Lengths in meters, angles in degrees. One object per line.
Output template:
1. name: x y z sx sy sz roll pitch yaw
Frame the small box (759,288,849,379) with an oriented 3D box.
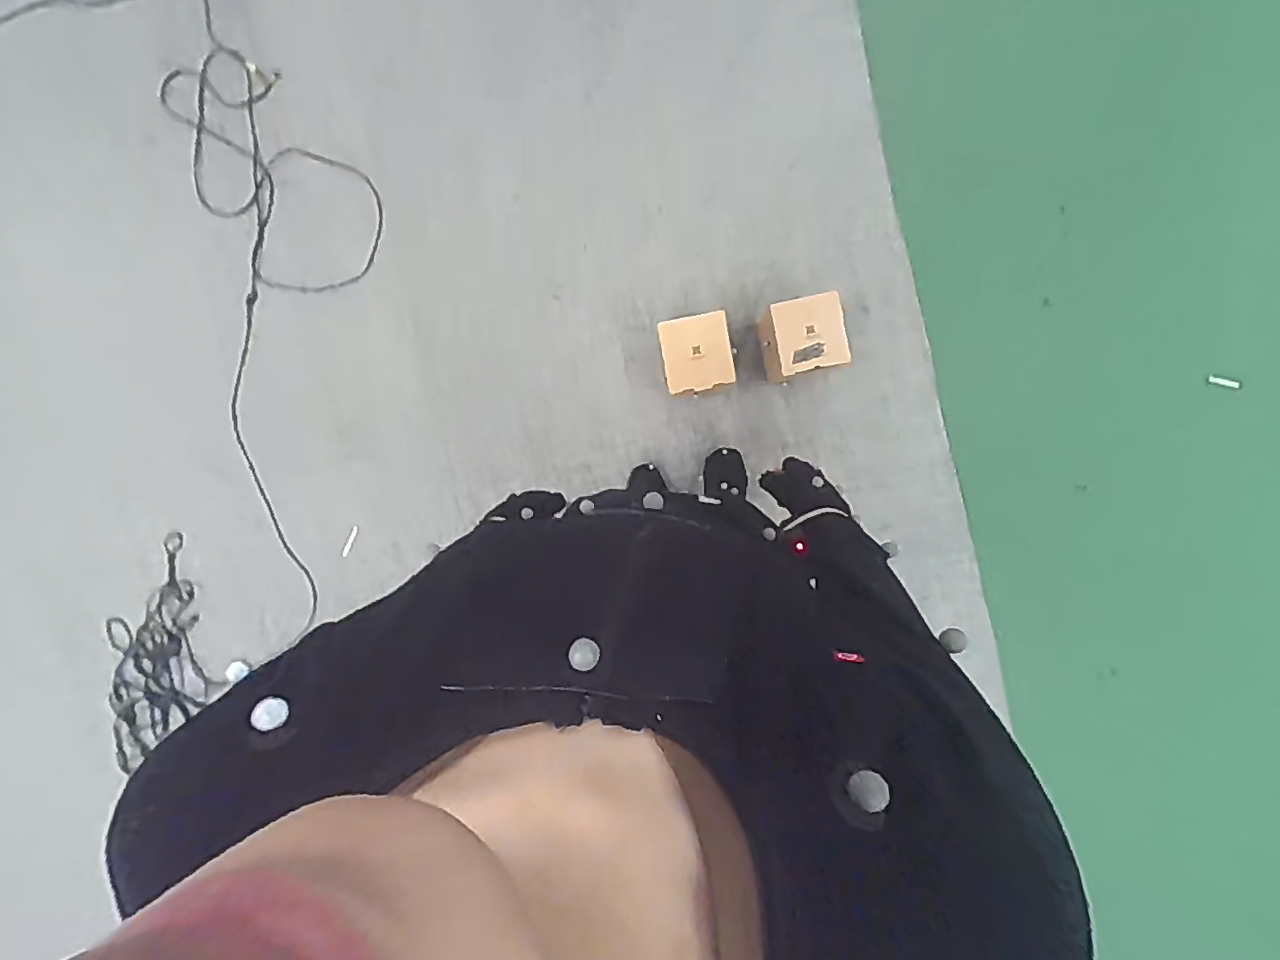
1. small box: 0.404 -0.355 1.354 0.168 0.176 0.179 -12 92 4

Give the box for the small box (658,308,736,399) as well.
1. small box: 0.138 -0.314 1.370 0.168 0.176 0.179 -11 93 3
